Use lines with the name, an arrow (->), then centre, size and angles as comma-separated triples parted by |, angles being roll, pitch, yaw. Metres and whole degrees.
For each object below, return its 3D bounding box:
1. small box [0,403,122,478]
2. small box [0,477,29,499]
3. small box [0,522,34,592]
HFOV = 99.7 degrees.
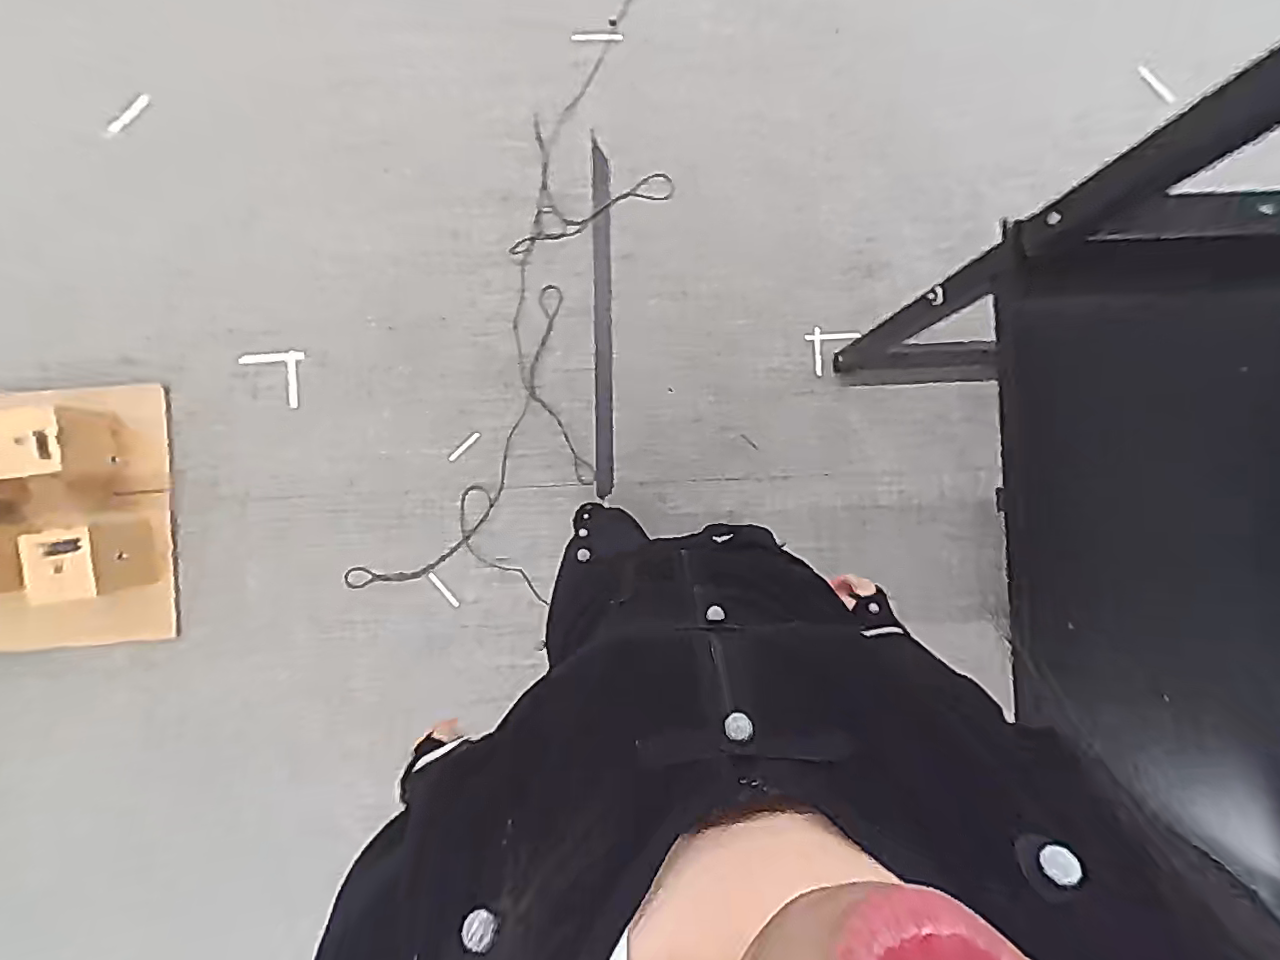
small box -> -1.479, -0.097, 1.379 | 0.179, 0.176, 0.168 | -7, 89, -1
small box -> -1.734, -0.037, 1.375 | 0.168, 0.176, 0.179 | -8, 90, 0
small box -> -1.707, 0.207, 1.368 | 0.168, 0.176, 0.179 | -8, 90, -2
